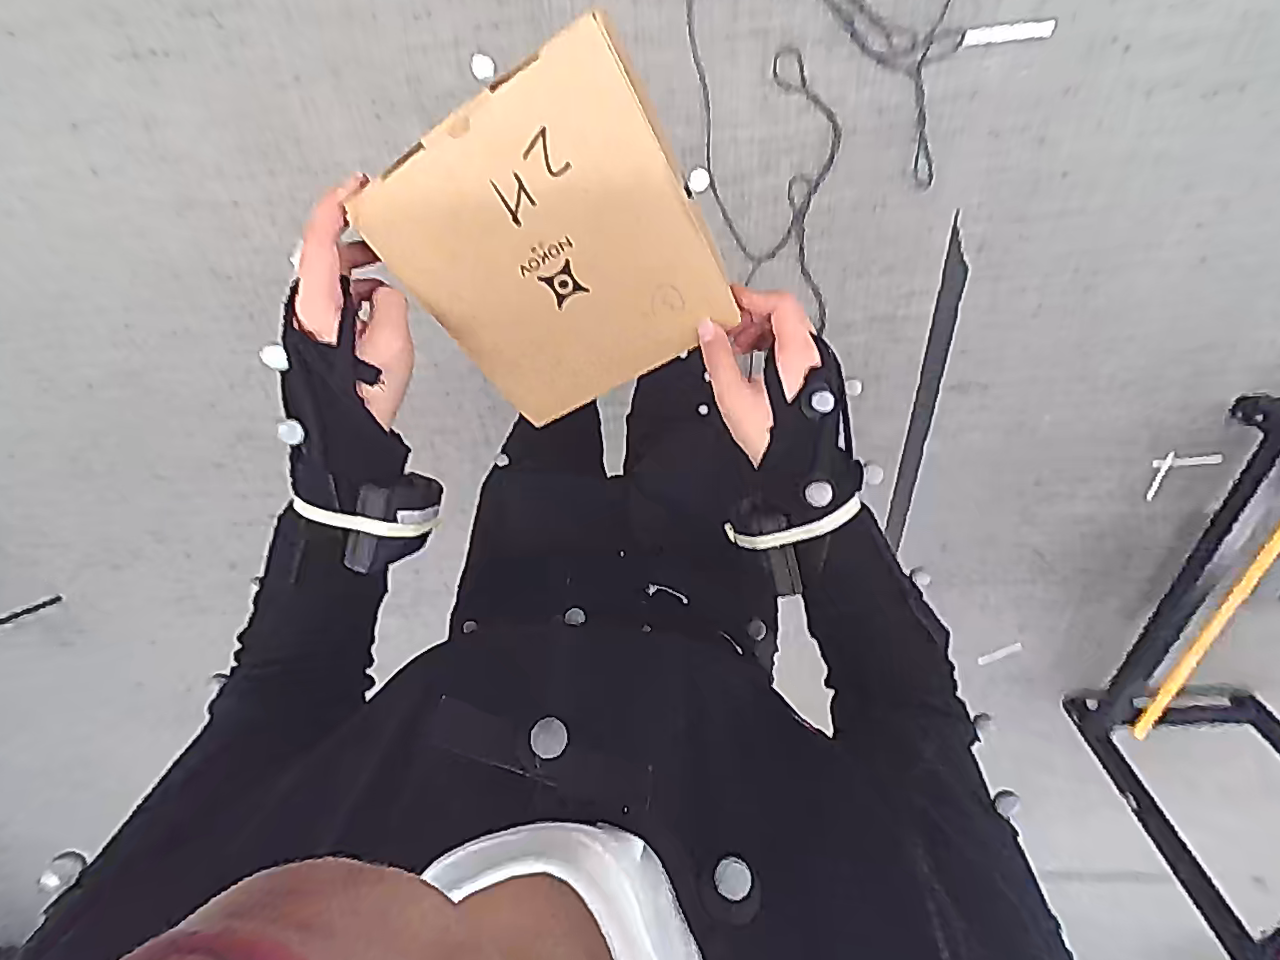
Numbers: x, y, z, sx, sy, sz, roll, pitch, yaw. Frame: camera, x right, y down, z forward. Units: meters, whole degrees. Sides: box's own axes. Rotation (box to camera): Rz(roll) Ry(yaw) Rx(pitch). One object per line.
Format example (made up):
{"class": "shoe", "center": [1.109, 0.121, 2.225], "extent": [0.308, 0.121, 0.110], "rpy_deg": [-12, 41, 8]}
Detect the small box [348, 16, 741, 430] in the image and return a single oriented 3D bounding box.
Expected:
{"class": "small box", "center": [-0.047, -0.173, 0.373], "extent": [0.168, 0.176, 0.179], "rpy_deg": [-24, 129, 19]}
